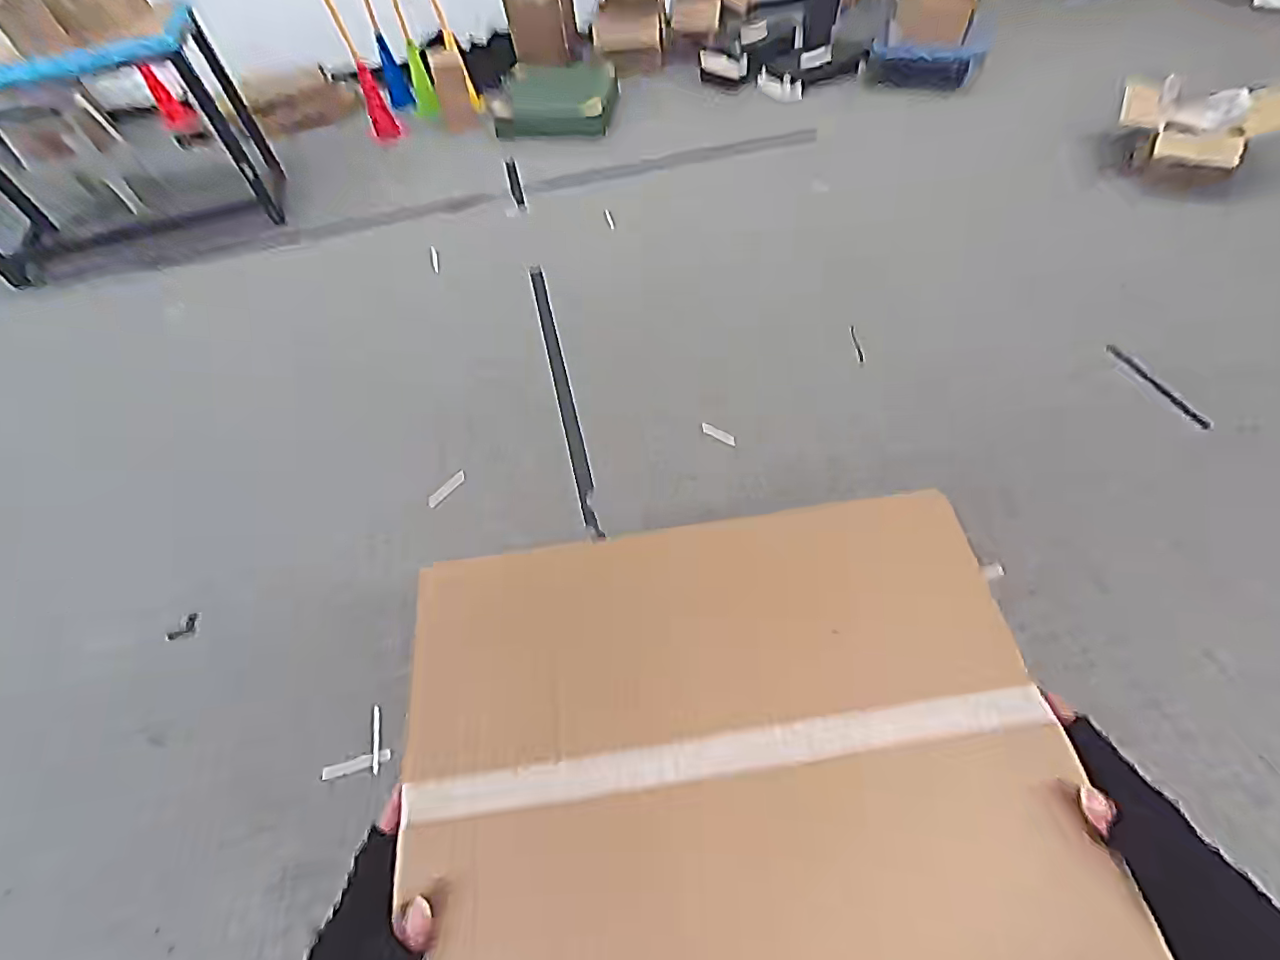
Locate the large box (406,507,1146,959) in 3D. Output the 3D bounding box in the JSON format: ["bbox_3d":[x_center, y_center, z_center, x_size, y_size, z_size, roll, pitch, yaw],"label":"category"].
[{"bbox_3d":[0.066,0.255,0.470,0.408,0.320,0.320,-9,59,0],"label":"large box"}]
